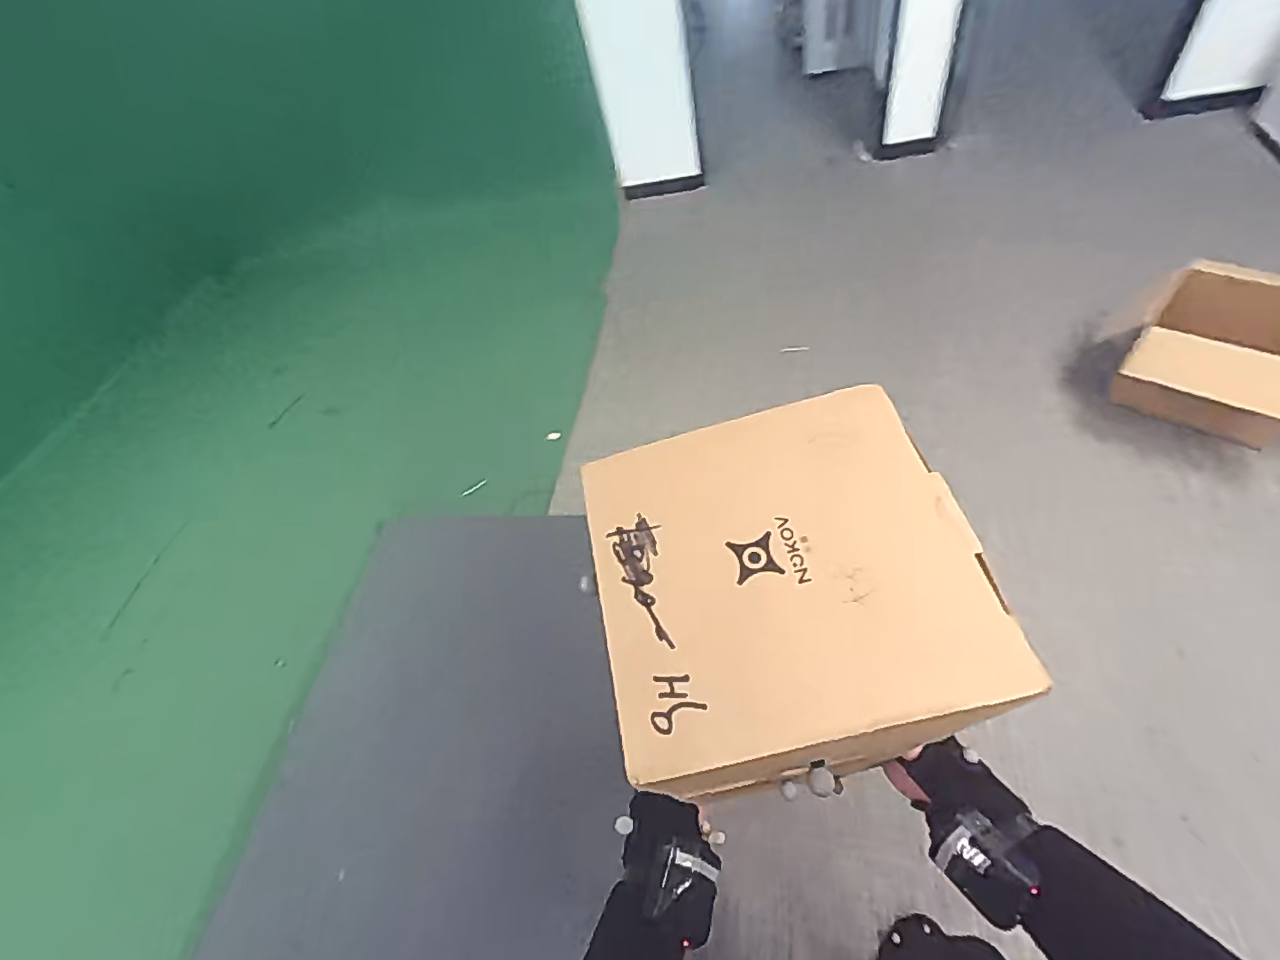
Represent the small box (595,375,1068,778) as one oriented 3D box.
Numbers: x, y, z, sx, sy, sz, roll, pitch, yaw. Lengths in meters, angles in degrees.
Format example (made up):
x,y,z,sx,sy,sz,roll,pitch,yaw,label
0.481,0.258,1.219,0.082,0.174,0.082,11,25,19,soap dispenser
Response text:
x,y,z,sx,sy,sz,roll,pitch,yaw,label
0.084,0.070,0.323,0.179,0.176,0.168,-14,57,3,small box
